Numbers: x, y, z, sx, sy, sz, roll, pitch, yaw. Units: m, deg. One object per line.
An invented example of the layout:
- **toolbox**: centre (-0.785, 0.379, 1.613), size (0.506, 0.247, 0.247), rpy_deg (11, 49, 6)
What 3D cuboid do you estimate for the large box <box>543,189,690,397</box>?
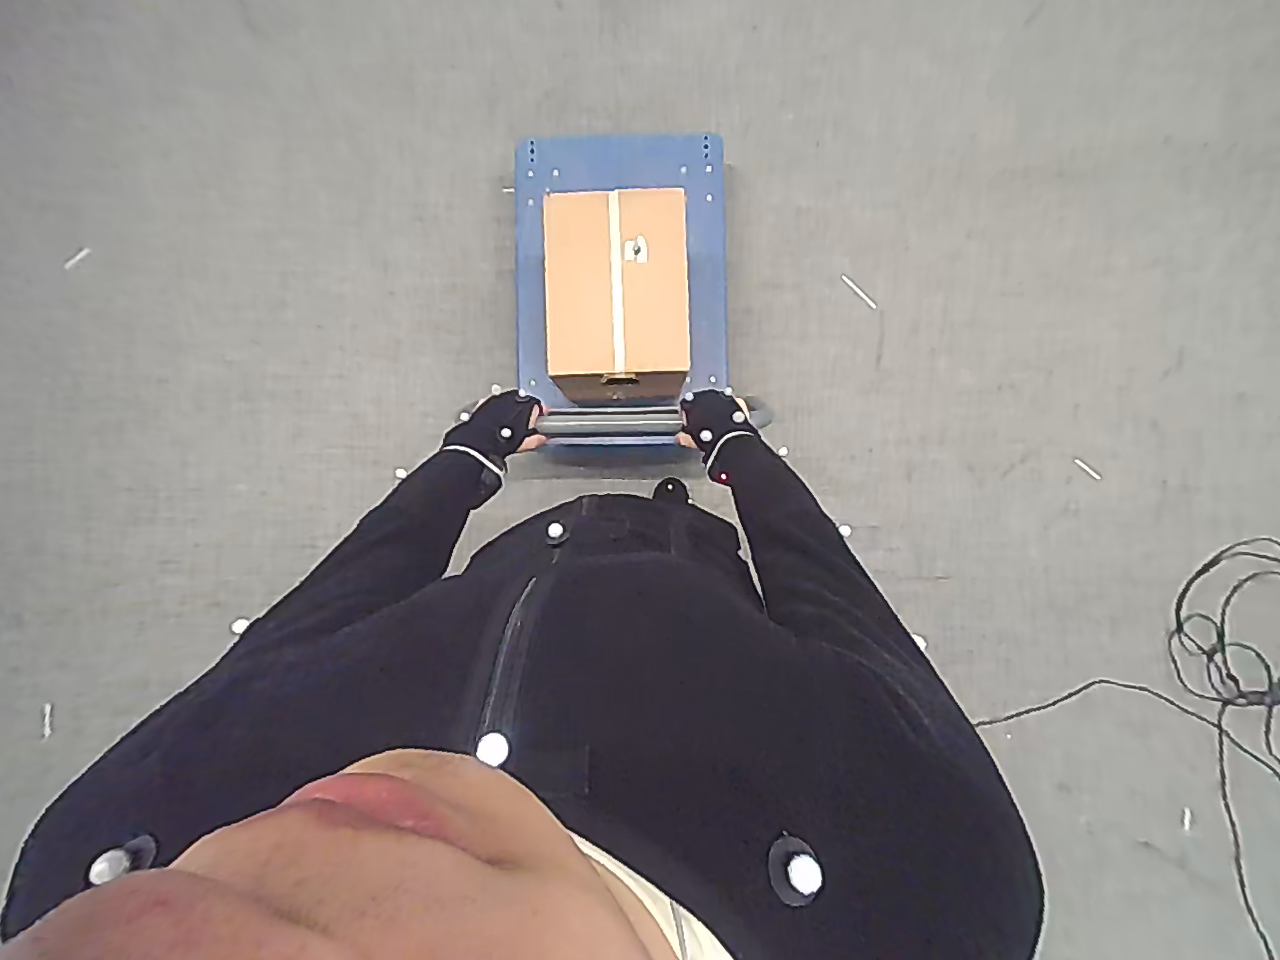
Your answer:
- **large box**: centre (-0.050, -0.434, 1.337), size (0.320, 0.320, 0.408), rpy_deg (-2, 89, 0)
